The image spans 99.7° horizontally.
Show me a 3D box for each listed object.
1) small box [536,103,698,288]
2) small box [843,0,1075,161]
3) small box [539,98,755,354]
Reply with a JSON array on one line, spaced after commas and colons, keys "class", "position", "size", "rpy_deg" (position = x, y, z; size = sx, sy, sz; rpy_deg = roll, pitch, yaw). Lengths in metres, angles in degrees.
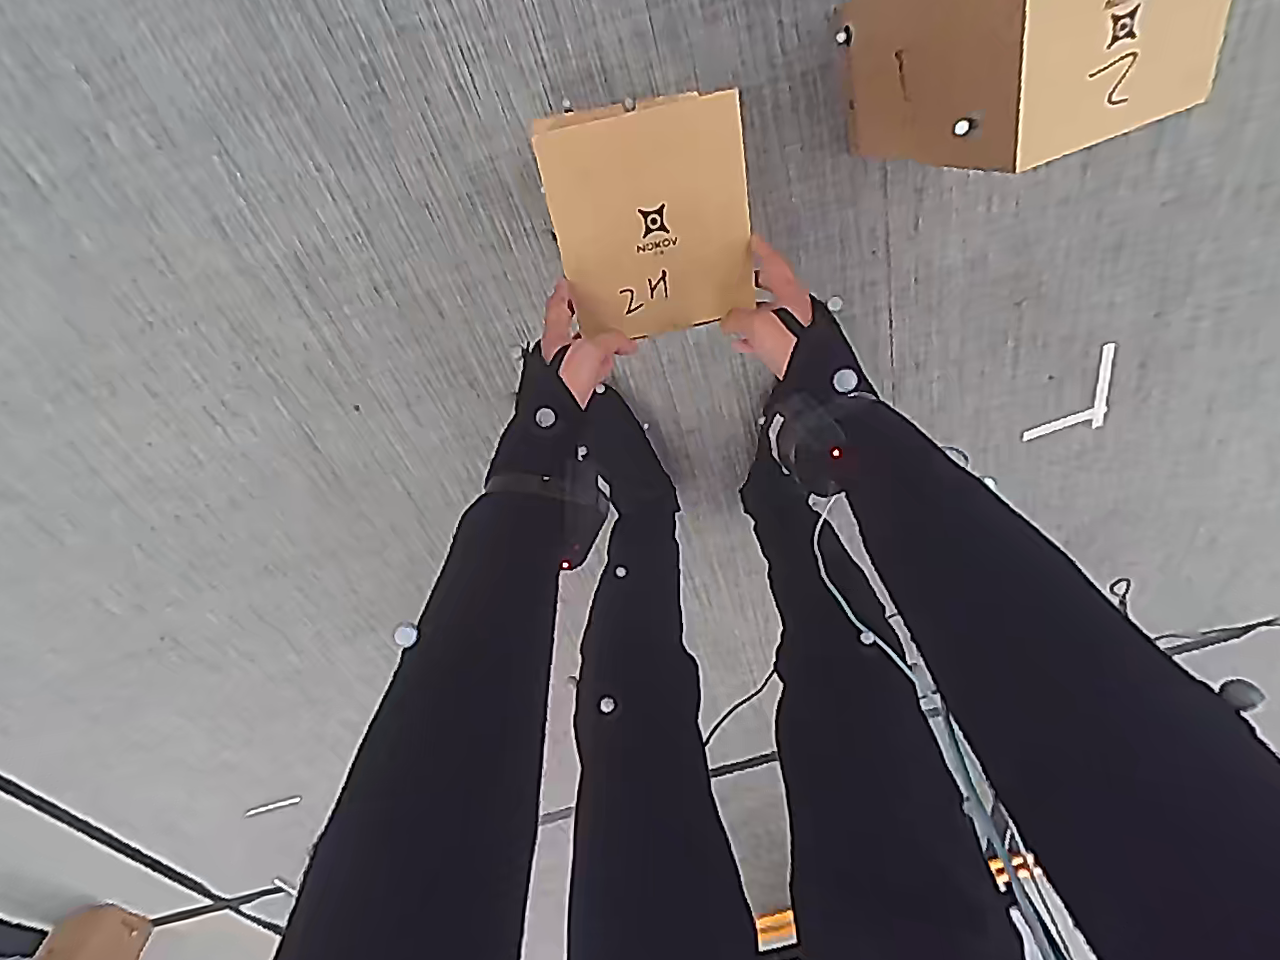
[{"class": "small box", "position": [-0.021, -0.351, 0.662], "size": [0.179, 0.176, 0.168], "rpy_deg": [-10, 124, 0]}, {"class": "small box", "position": [0.350, -0.486, 0.623], "size": [0.179, 0.176, 0.168], "rpy_deg": [-19, 123, 3]}, {"class": "small box", "position": [0.004, -0.245, 0.528], "size": [0.168, 0.176, 0.179], "rpy_deg": [-12, 121, 0]}]
